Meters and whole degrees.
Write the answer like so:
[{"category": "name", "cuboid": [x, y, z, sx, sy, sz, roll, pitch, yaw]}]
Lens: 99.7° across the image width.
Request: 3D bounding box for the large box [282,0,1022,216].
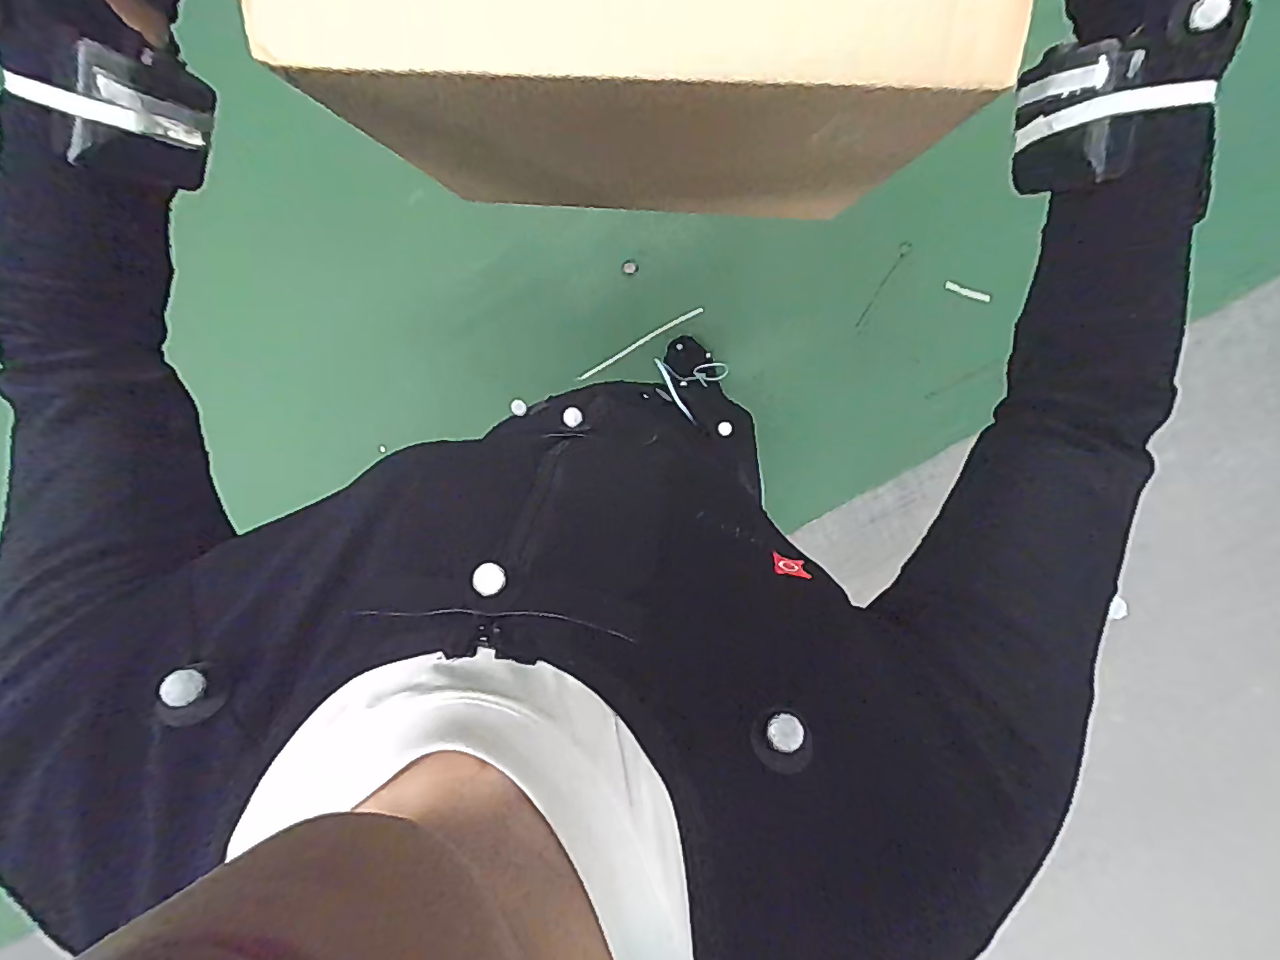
[{"category": "large box", "cuboid": [0.013, -0.404, 0.405, 0.408, 0.320, 0.320, 4, 105, 2]}]
